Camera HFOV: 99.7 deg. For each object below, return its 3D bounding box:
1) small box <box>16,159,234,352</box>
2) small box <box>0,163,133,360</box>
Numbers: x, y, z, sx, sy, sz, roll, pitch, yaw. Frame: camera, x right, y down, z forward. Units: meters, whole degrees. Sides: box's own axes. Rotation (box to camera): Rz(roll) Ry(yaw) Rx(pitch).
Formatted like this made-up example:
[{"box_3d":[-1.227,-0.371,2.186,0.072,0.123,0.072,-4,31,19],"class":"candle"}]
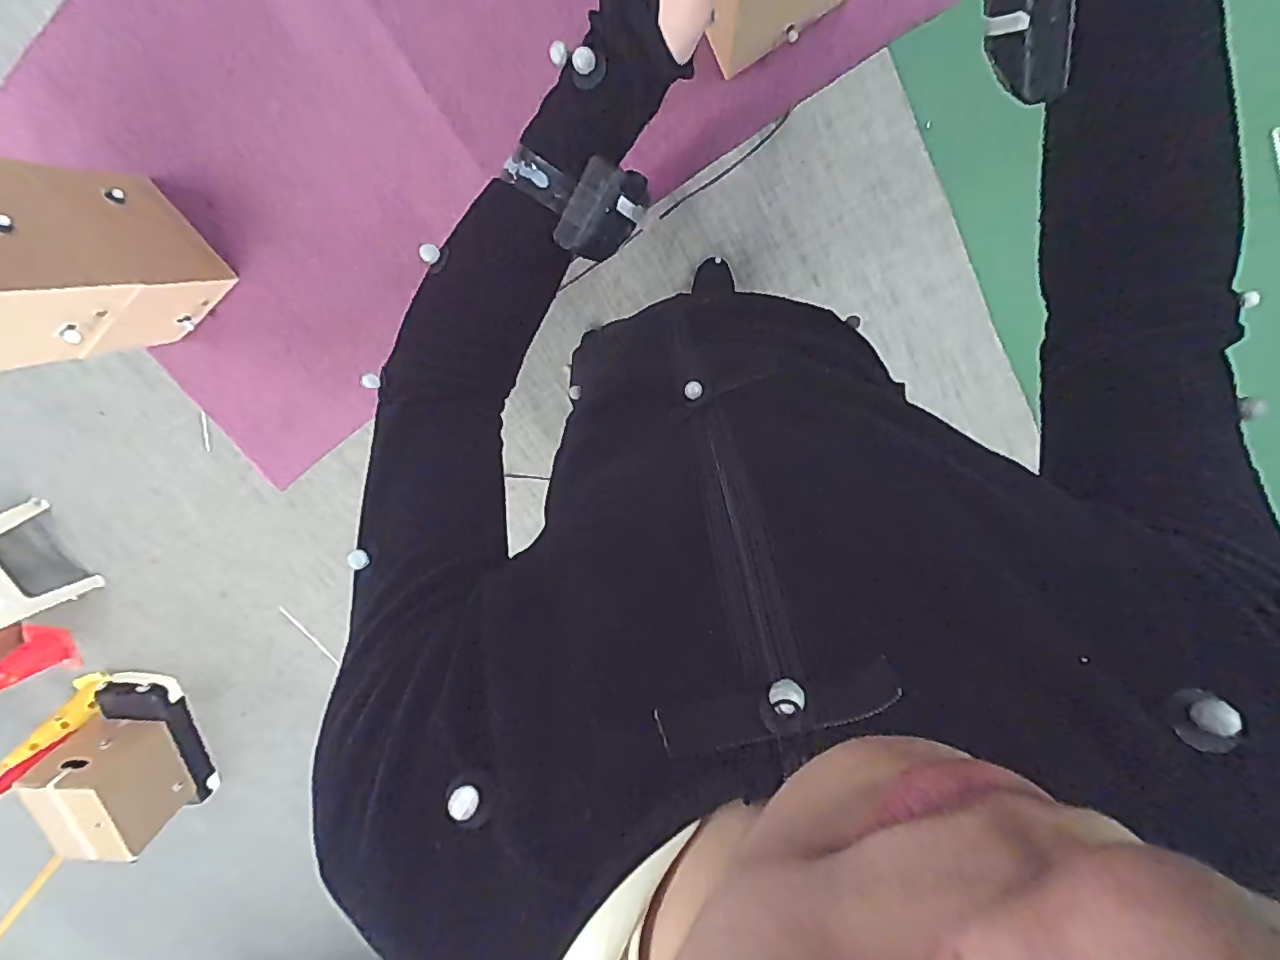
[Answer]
[{"box_3d":[-0.744,-0.310,0.764,0.168,0.176,0.179,-32,107,18],"class":"small box"},{"box_3d":[-0.759,-0.246,0.613,0.168,0.176,0.179,-32,107,18],"class":"small box"}]
